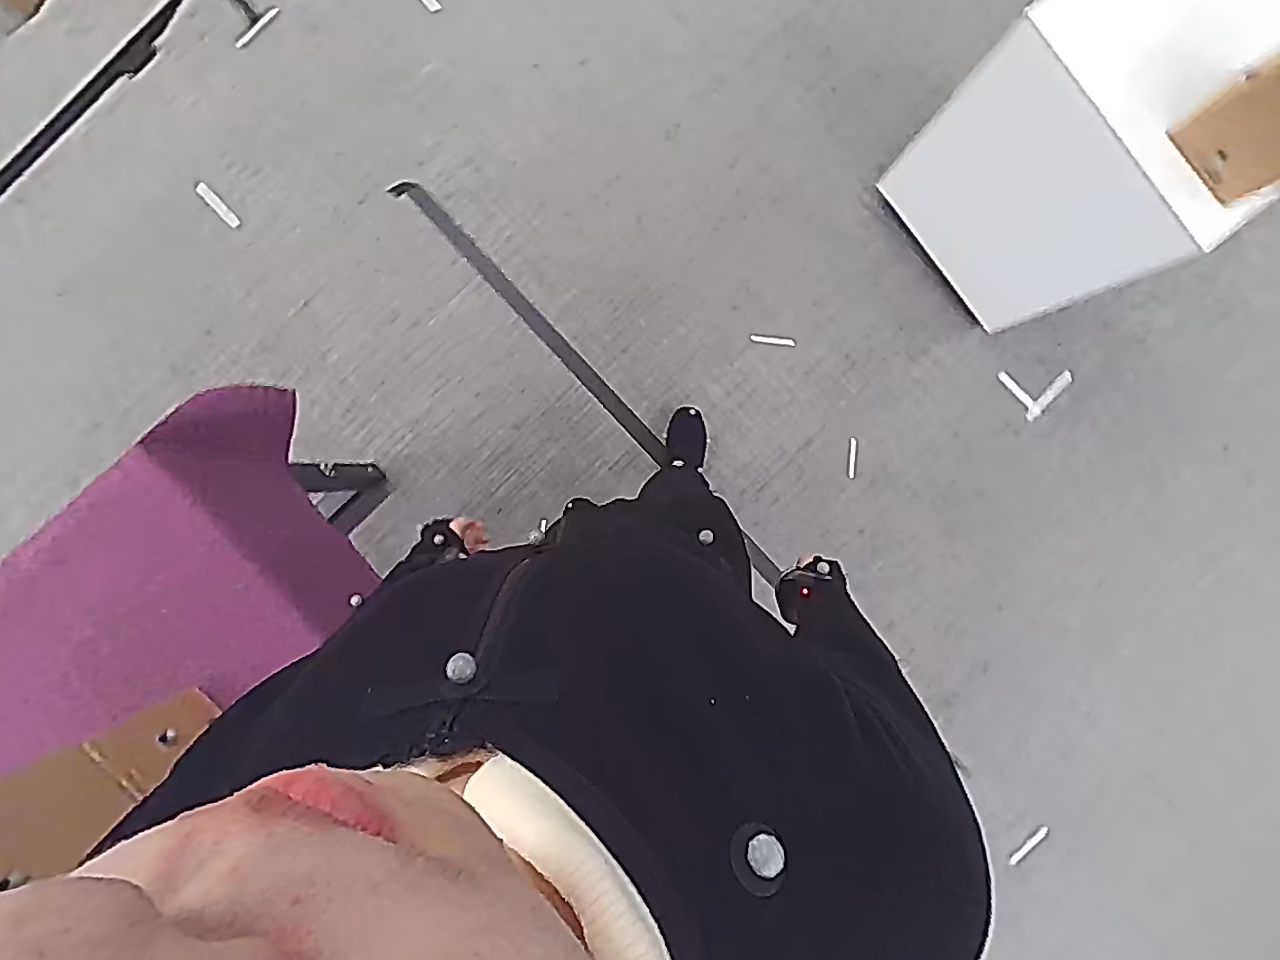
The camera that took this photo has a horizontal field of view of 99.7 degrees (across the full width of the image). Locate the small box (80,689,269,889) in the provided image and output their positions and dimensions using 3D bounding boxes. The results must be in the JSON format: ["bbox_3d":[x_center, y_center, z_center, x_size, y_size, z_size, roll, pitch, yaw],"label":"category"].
[{"bbox_3d":[-0.626,0.406,0.693,0.179,0.176,0.168,-44,91,1],"label":"small box"}]
